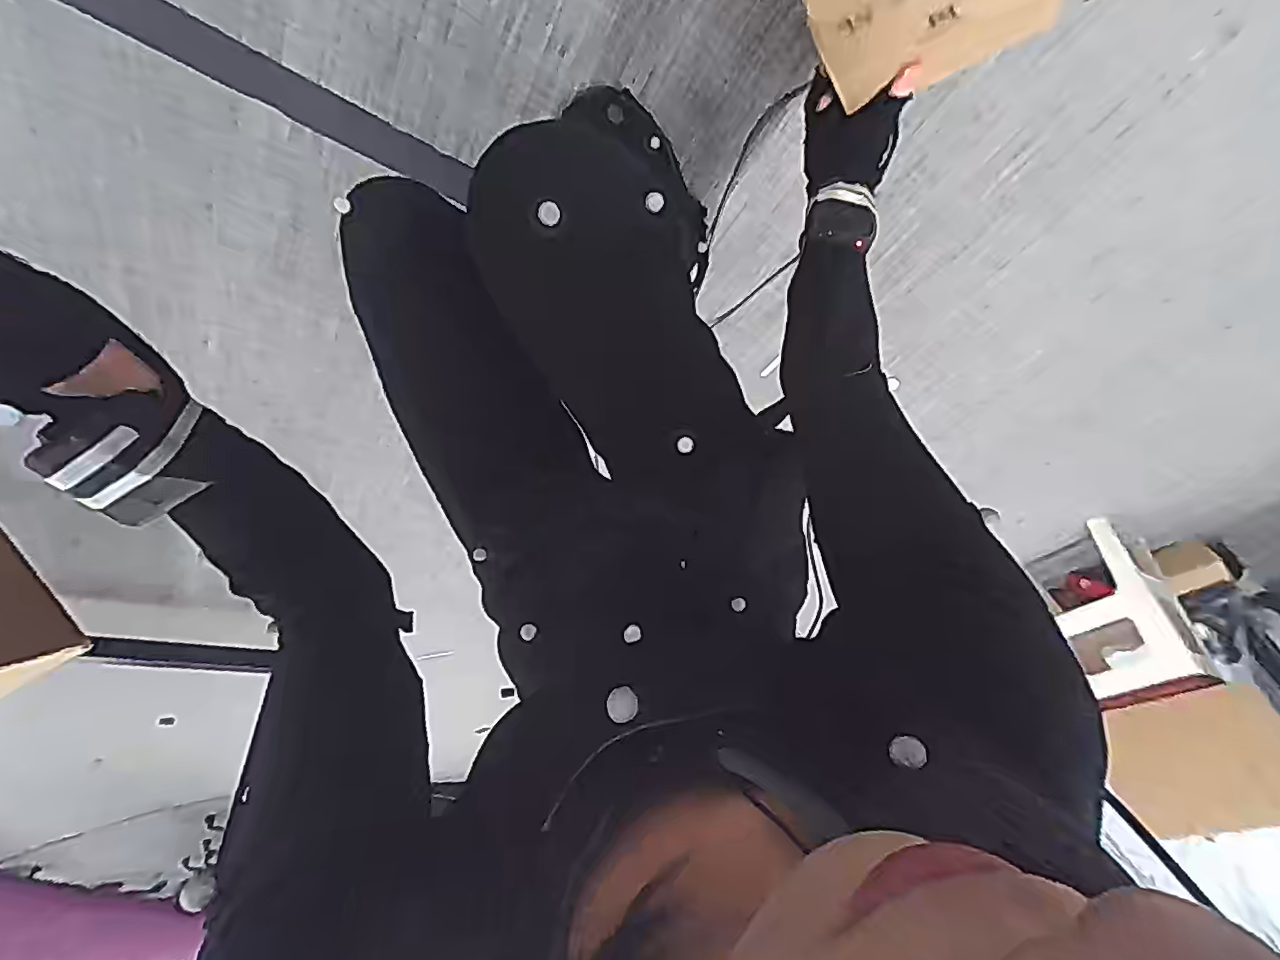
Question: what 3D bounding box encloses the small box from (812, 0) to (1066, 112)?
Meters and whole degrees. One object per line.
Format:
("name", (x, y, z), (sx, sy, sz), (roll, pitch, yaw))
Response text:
("small box", (0.216, -0.426, 0.401), (0.168, 0.176, 0.179), (-10, -173, 31))
